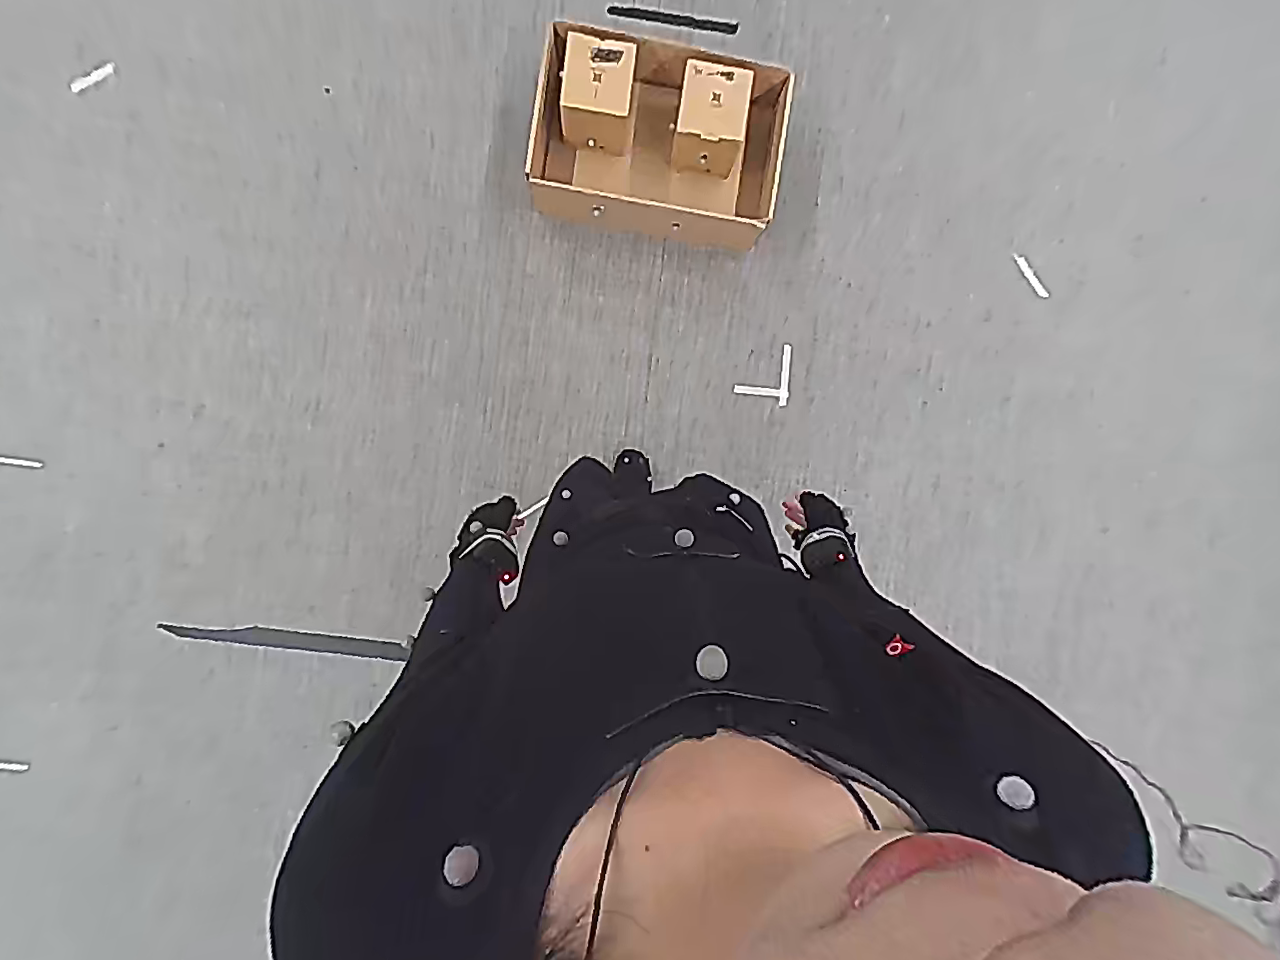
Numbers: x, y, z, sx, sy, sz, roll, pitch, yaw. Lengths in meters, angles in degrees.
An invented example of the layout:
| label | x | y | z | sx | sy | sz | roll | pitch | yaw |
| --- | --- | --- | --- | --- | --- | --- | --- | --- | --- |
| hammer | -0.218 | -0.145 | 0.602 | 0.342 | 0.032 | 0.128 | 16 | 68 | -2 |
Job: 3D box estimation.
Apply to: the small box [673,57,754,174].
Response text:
| label | x | y | z | sx | sy | sz | roll | pitch | yaw |
| --- | --- | --- | --- | --- | --- | --- | --- | --- | --- |
| small box | 0.178 | -0.916 | 1.375 | 0.168 | 0.176 | 0.179 | 10 | 92 | -1 |
